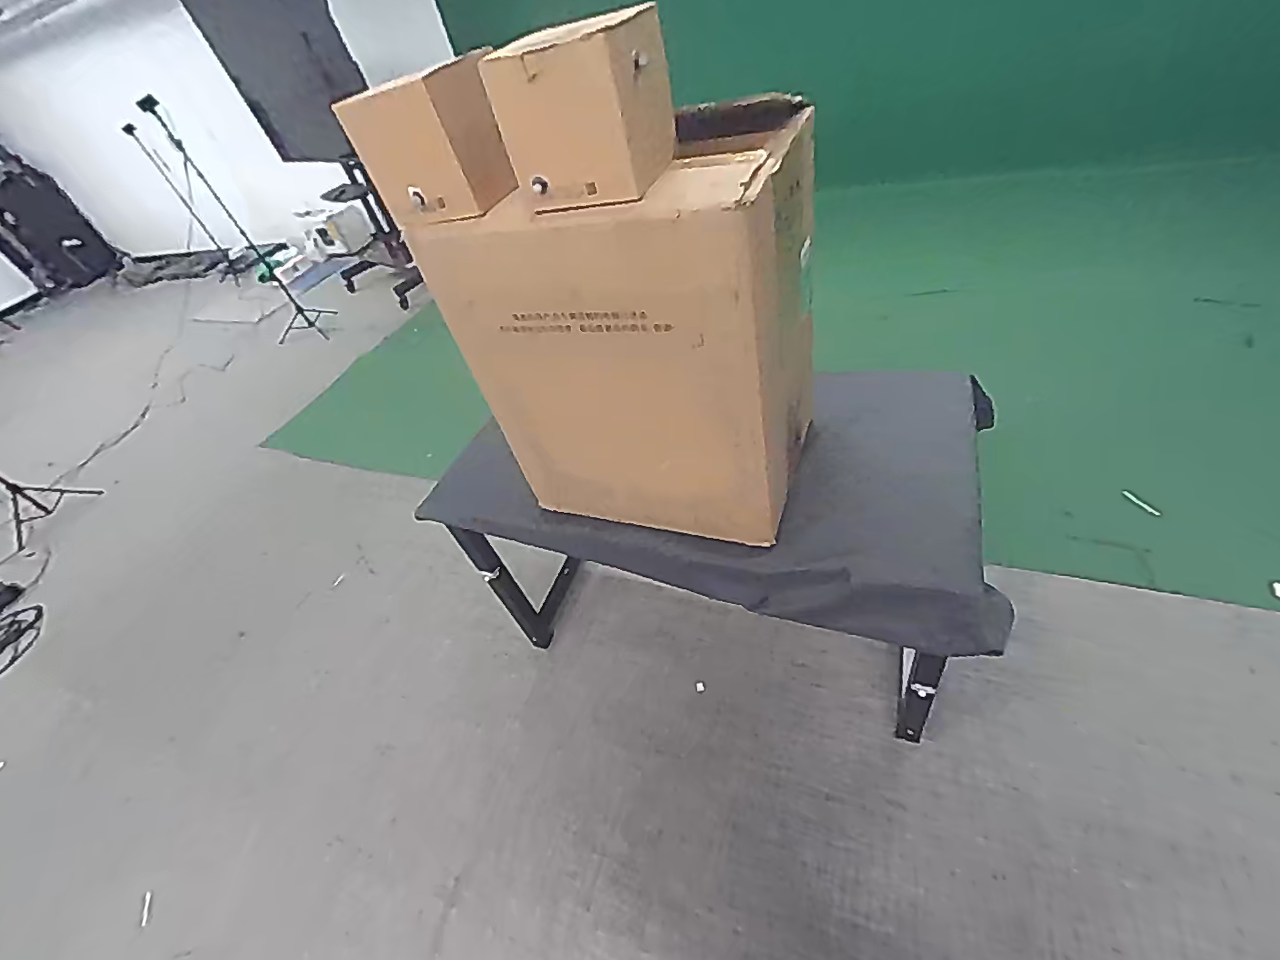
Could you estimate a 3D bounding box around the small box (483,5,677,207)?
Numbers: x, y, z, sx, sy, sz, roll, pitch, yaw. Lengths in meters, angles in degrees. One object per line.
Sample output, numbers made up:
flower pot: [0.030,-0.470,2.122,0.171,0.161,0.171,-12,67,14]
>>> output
small box: [-0.061,-0.465,0.692,0.168,0.176,0.179,6,48,23]

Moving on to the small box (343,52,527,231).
small box: [-0.281,-0.494,0.802,0.168,0.176,0.179,4,49,25]
